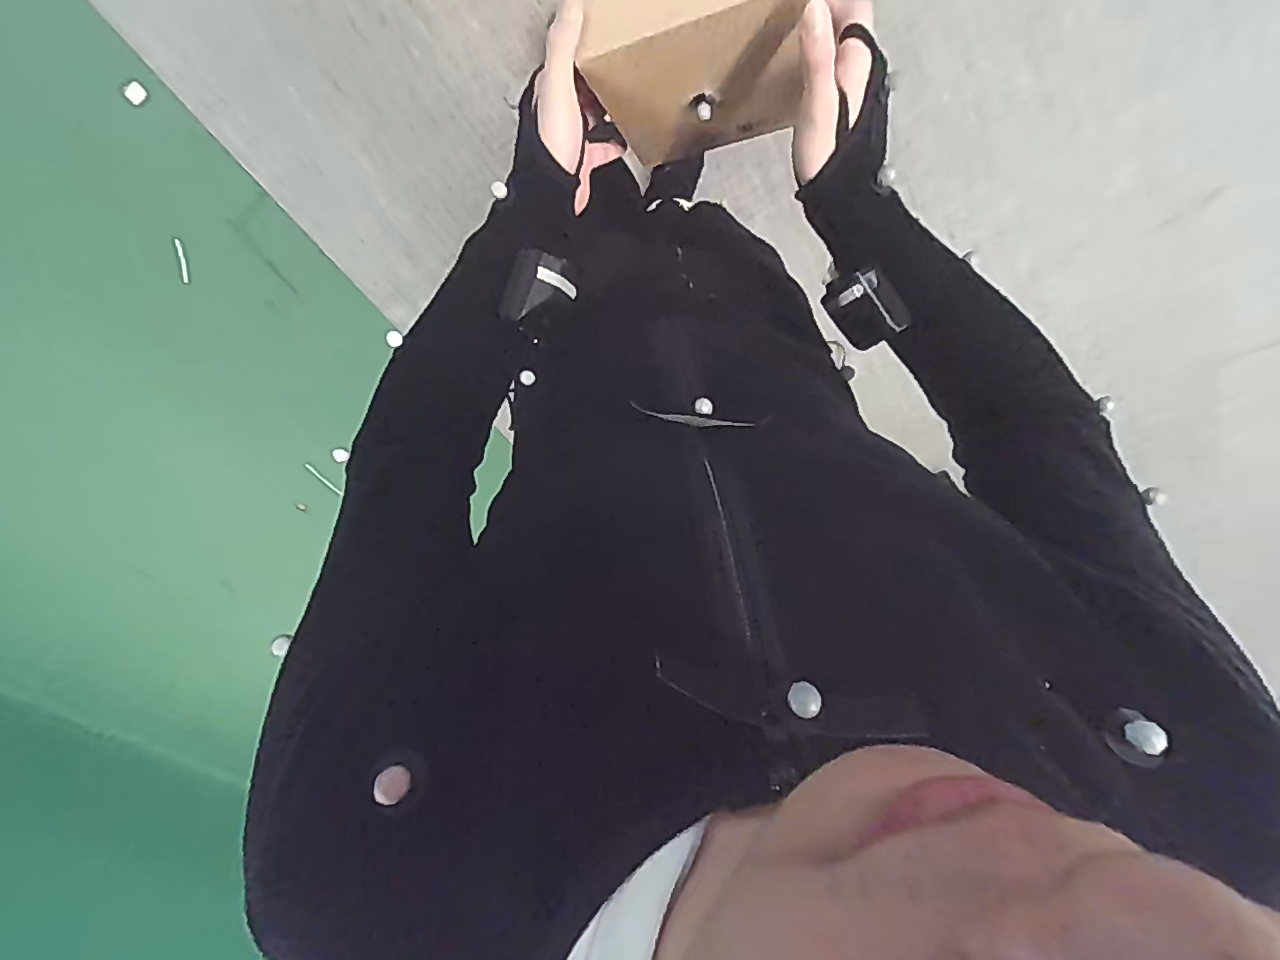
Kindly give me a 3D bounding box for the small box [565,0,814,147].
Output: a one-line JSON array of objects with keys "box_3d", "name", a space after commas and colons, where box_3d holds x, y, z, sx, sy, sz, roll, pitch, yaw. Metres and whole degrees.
[{"box_3d": [0.046, -0.396, 0.426, 0.168, 0.176, 0.179, -4, 94, 18], "name": "small box"}]
